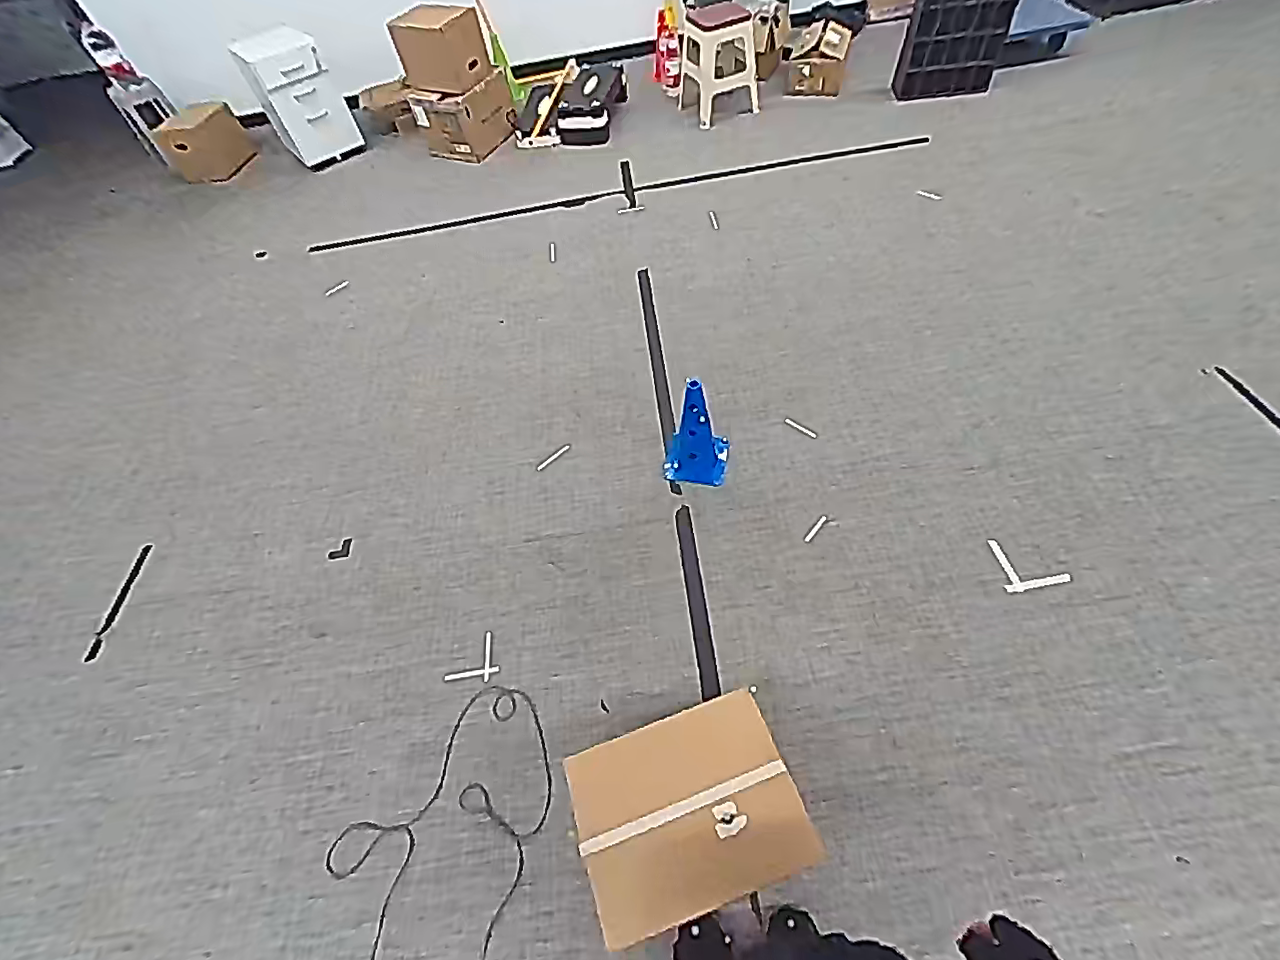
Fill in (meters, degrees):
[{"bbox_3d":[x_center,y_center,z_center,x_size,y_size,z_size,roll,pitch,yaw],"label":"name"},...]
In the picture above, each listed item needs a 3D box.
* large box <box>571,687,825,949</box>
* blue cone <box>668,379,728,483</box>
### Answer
[{"bbox_3d":[0.111,0.698,1.129,0.408,0.320,0.320,-19,53,-6],"label":"large box"},{"bbox_3d":[0.178,-0.166,1.708,0.193,0.380,0.192,8,56,14],"label":"blue cone"}]
